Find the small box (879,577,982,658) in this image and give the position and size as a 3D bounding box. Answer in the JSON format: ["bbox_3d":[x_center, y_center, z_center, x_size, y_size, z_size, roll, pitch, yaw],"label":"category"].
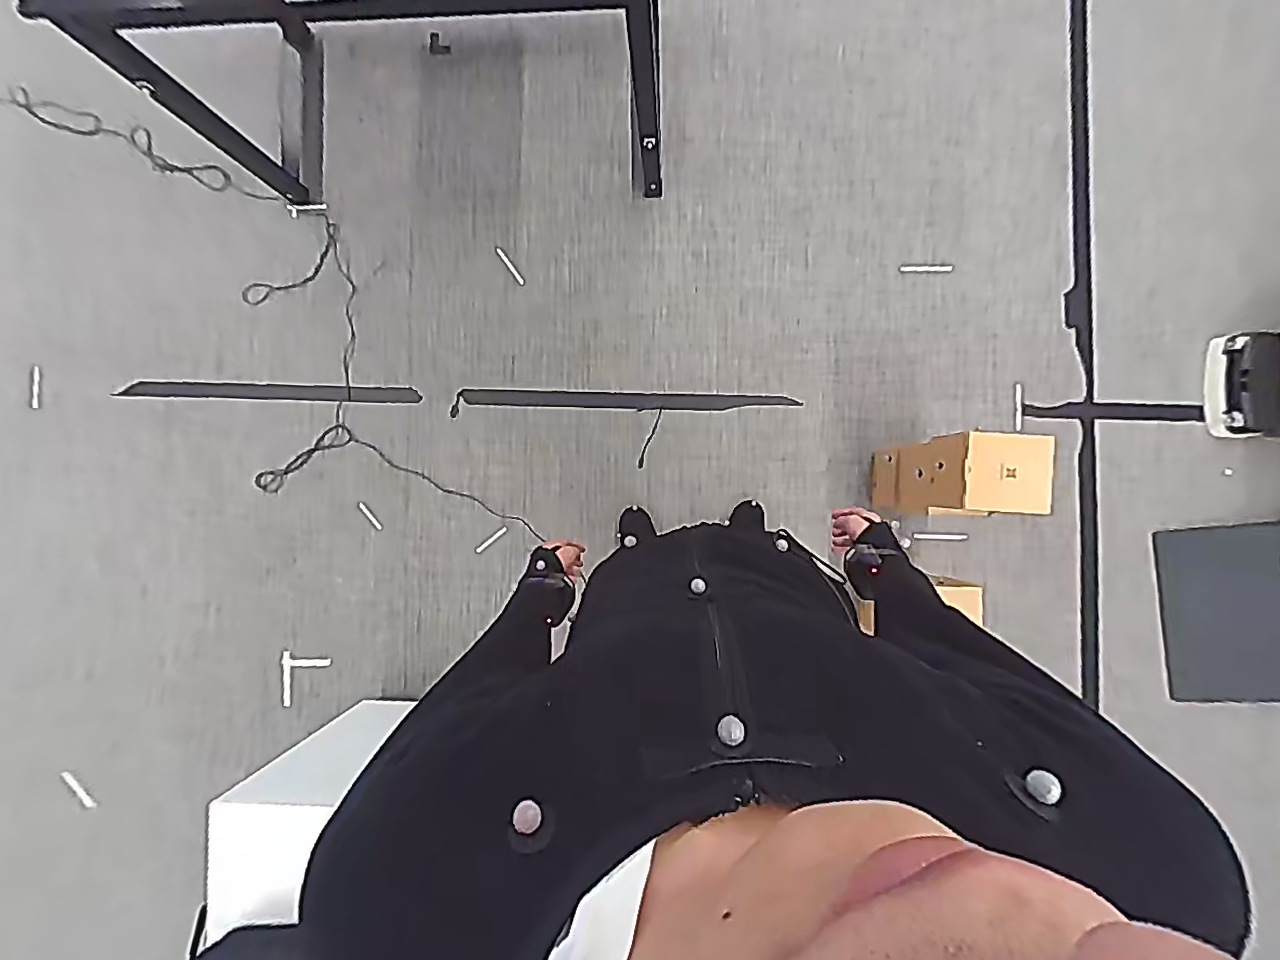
[{"bbox_3d":[0.724,0.339,1.359,0.179,0.176,0.168,1,88,4],"label":"small box"}]

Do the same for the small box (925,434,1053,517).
[{"bbox_3d":[0.765,-0.011,1.197,0.179,0.176,0.168,3,90,4],"label":"small box"}]

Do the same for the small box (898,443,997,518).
[{"bbox_3d":[0.767,0.001,1.360,0.168,0.176,0.179,1,90,3],"label":"small box"}]

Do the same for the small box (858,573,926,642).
[{"bbox_3d":[0.731,0.354,1.523,0.179,0.176,0.168,-1,88,4],"label":"small box"}]
